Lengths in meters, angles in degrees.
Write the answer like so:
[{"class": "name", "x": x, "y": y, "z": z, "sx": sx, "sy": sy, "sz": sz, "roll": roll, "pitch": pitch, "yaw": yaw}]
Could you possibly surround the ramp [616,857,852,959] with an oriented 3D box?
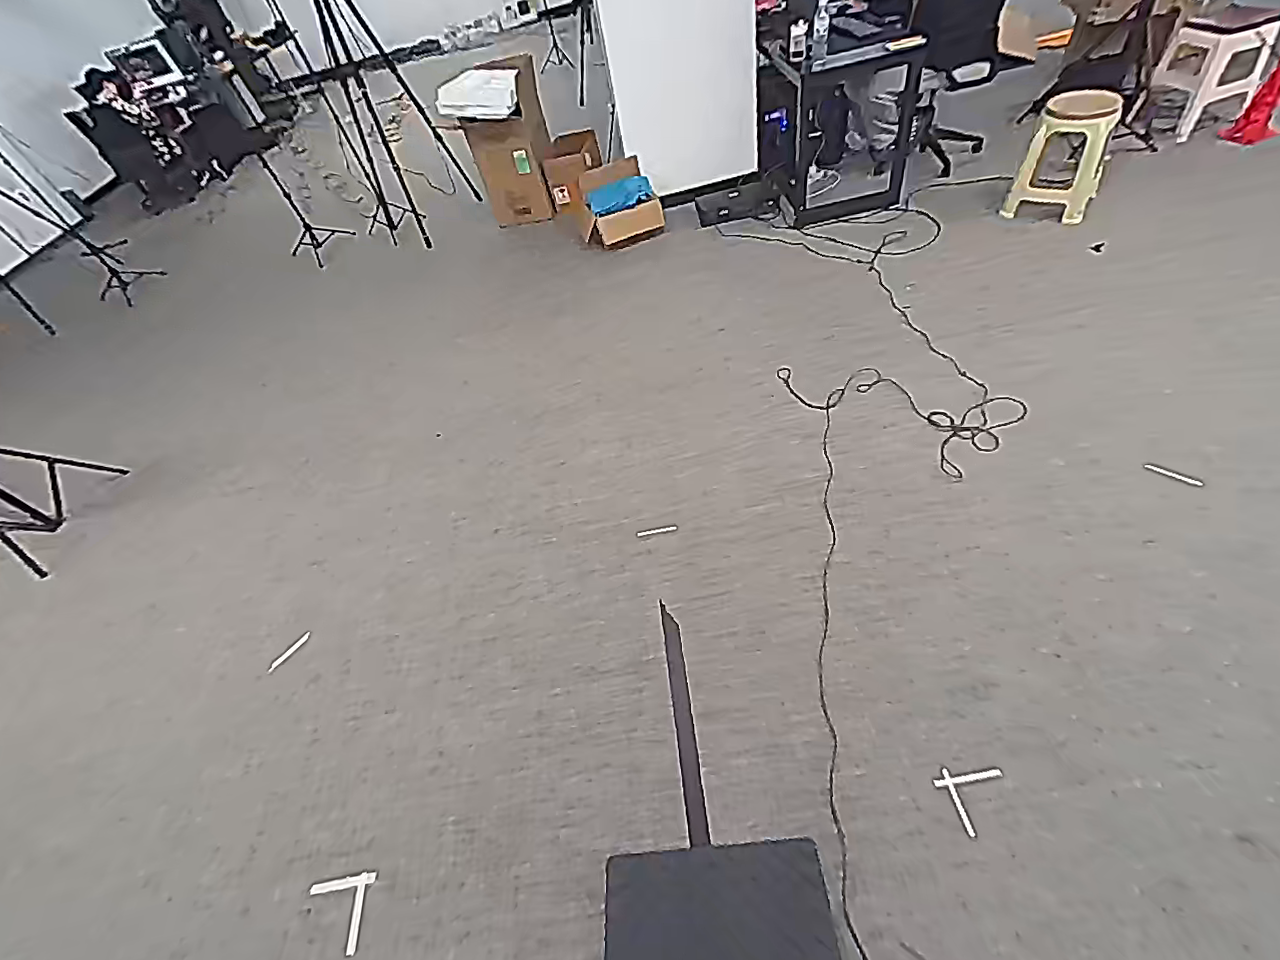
[{"class": "ramp", "x": 0.199, "y": 1.203, "z": 0.856, "sx": 0.509, "sy": 0.206, "sz": 0.991, "roll": -13, "pitch": 46, "yaw": 5}]
